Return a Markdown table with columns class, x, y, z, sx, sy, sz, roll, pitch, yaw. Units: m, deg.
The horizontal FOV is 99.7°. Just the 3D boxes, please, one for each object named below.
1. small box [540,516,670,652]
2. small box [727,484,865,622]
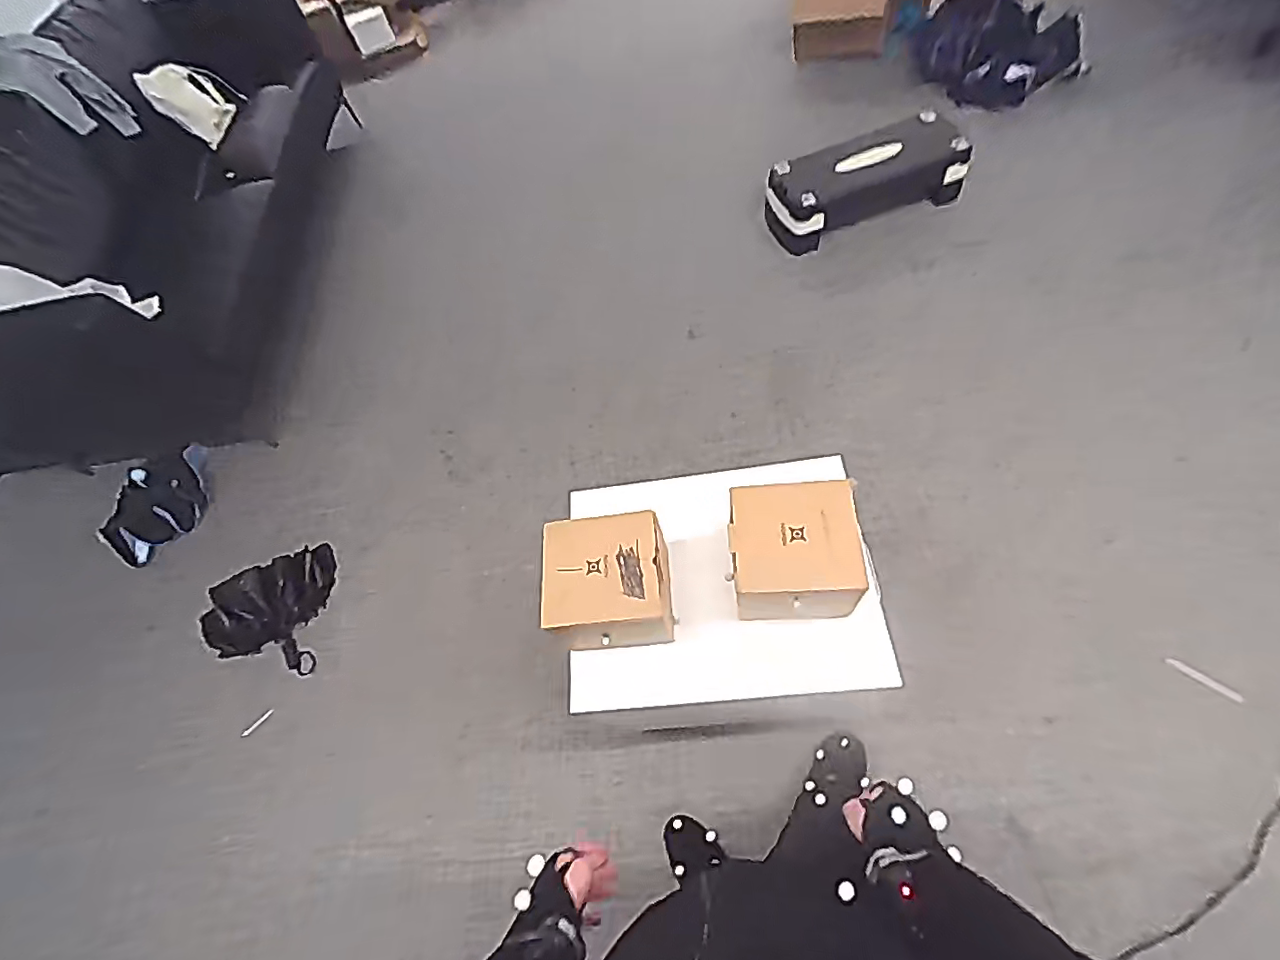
| class | x | y | z | sx | sy | sz | roll | pitch | yaw |
| --- | --- | --- | --- | --- | --- | --- | --- | --- | --- |
| small box | -0.047 | 0.171 | 0.858 | 0.179 | 0.176 | 0.168 | -7 | 61 | 8 |
| small box | 0.230 | 0.119 | 0.834 | 0.179 | 0.176 | 0.168 | -4 | 63 | 9 |
